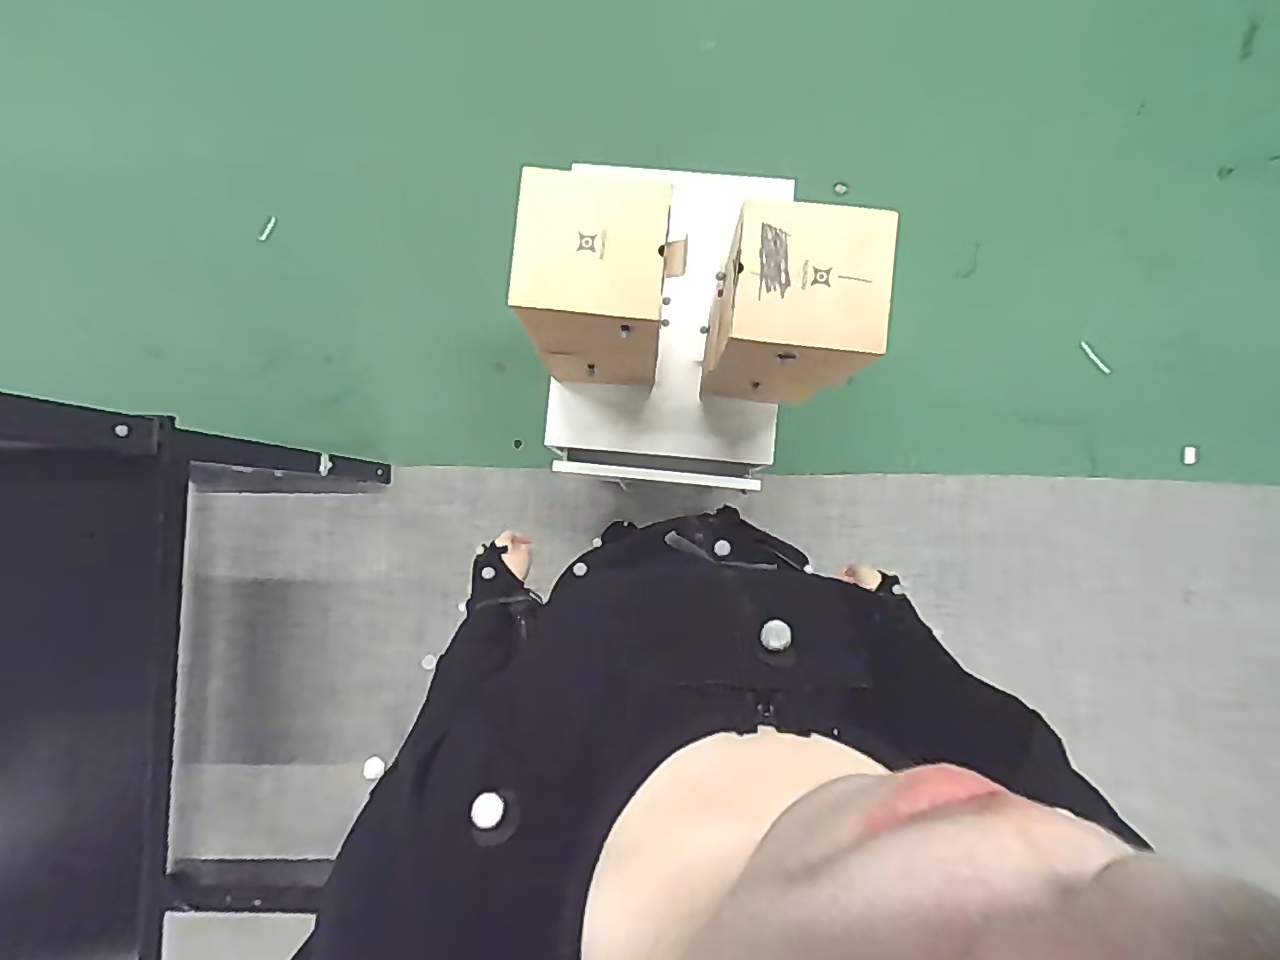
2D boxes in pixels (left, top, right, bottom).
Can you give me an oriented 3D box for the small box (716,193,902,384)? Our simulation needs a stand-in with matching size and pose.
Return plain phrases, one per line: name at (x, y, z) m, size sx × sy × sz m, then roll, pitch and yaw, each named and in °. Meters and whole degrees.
small box at (0.194, -0.224, 0.672) m, size 0.179 × 0.176 × 0.168 m, roll 7°, pitch 88°, yaw 1°
